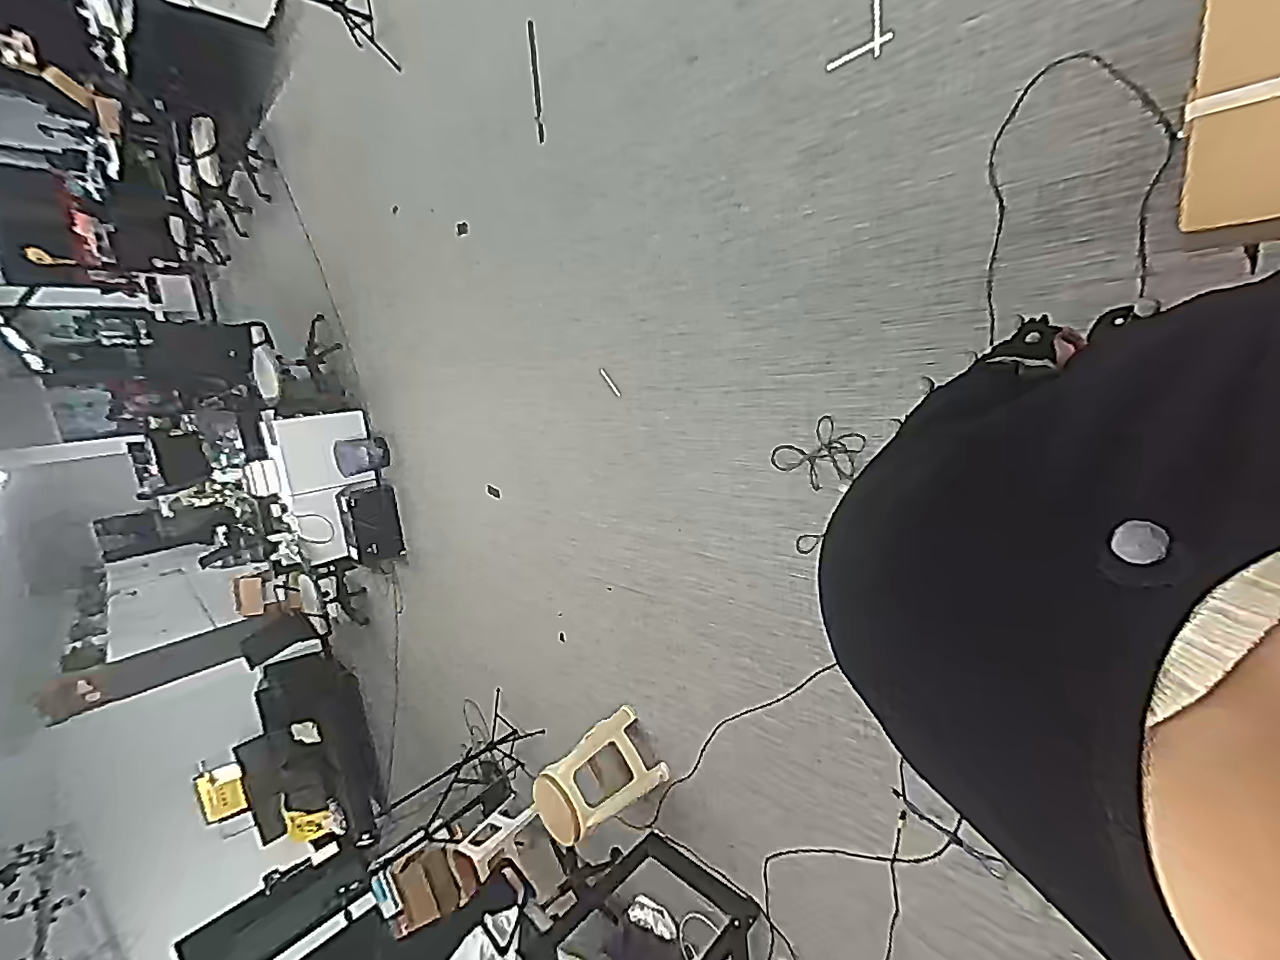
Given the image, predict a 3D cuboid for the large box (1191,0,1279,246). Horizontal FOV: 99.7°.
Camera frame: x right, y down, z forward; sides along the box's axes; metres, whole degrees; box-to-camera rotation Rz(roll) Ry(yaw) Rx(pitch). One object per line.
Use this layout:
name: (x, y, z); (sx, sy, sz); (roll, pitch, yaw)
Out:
large box: (0.969, -0.504, 0.657); (0.408, 0.320, 0.320); (7, 107, 44)
